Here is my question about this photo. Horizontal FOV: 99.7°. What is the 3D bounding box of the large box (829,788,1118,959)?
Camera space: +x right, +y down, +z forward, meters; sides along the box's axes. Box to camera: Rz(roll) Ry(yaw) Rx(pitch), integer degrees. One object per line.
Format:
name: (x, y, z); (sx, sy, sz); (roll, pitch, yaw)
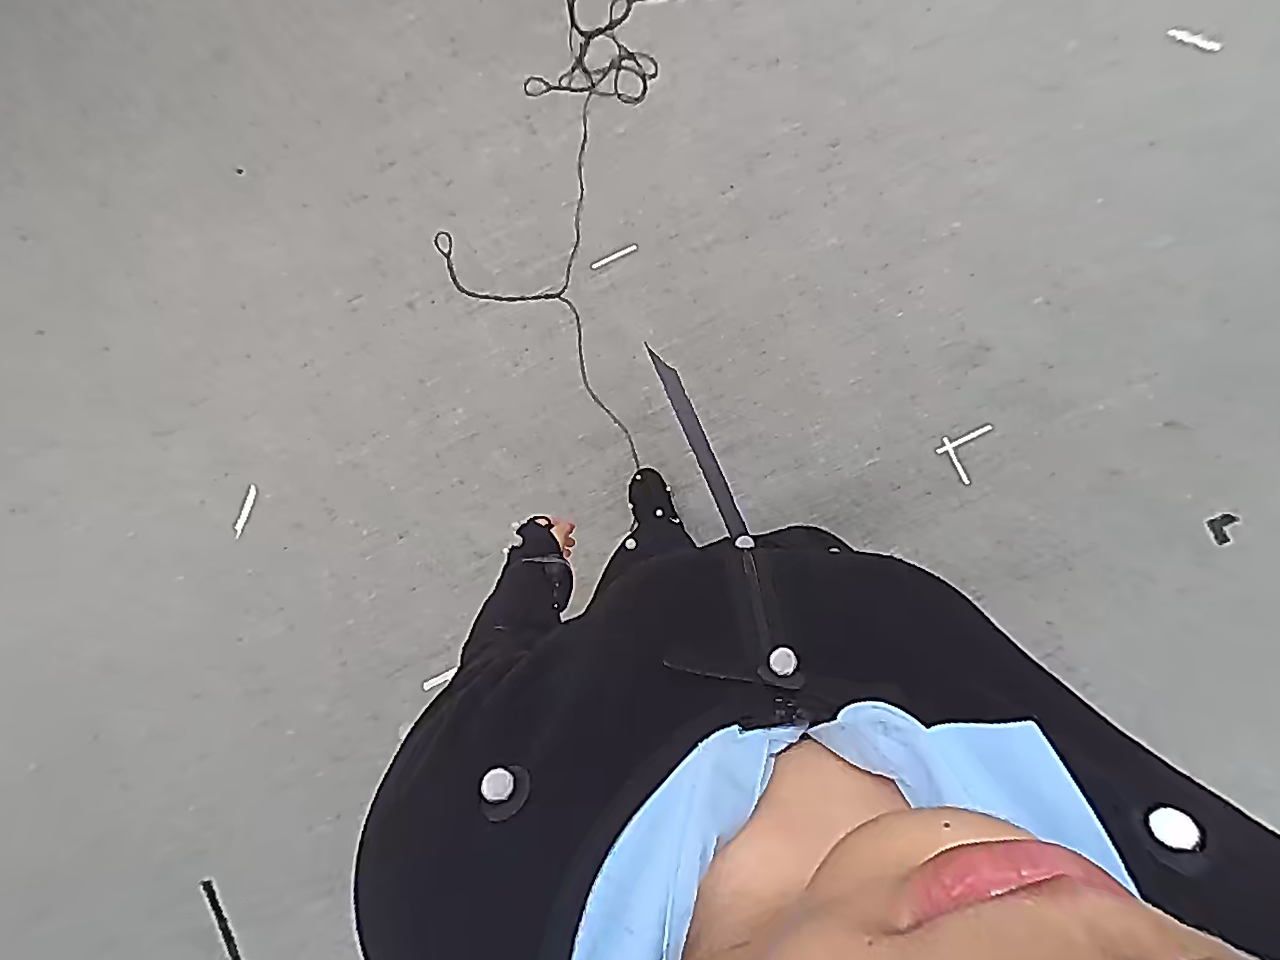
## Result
large box: (0.663, 0.905, 1.113); (0.408, 0.320, 0.320); (-16, 87, 4)
